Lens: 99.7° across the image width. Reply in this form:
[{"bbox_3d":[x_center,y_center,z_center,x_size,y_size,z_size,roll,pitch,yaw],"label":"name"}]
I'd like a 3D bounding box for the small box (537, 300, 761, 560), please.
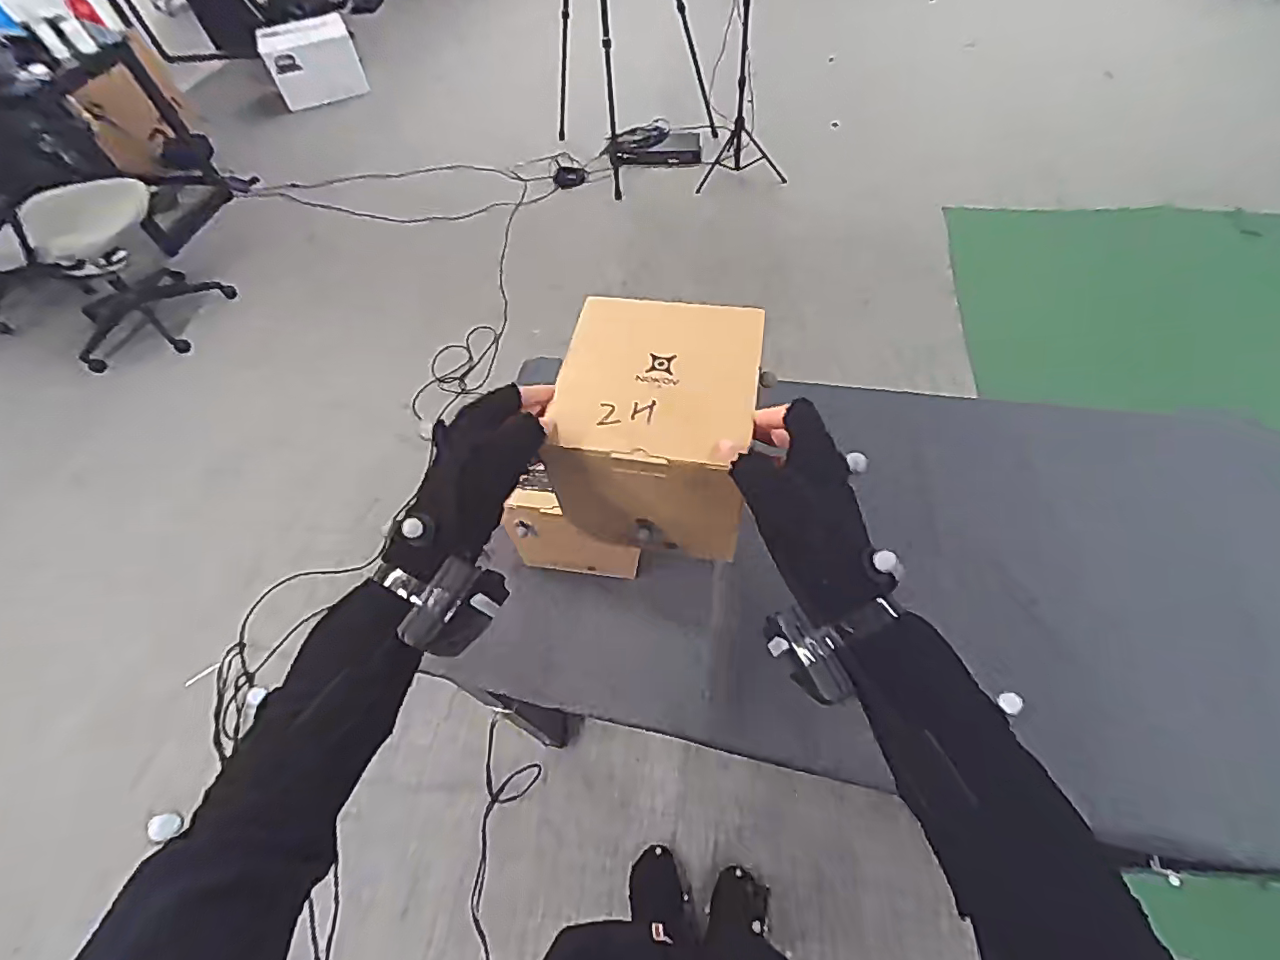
[{"bbox_3d":[0.017,-0.044,0.522,0.168,0.176,0.179,7,60,9],"label":"small box"}]
